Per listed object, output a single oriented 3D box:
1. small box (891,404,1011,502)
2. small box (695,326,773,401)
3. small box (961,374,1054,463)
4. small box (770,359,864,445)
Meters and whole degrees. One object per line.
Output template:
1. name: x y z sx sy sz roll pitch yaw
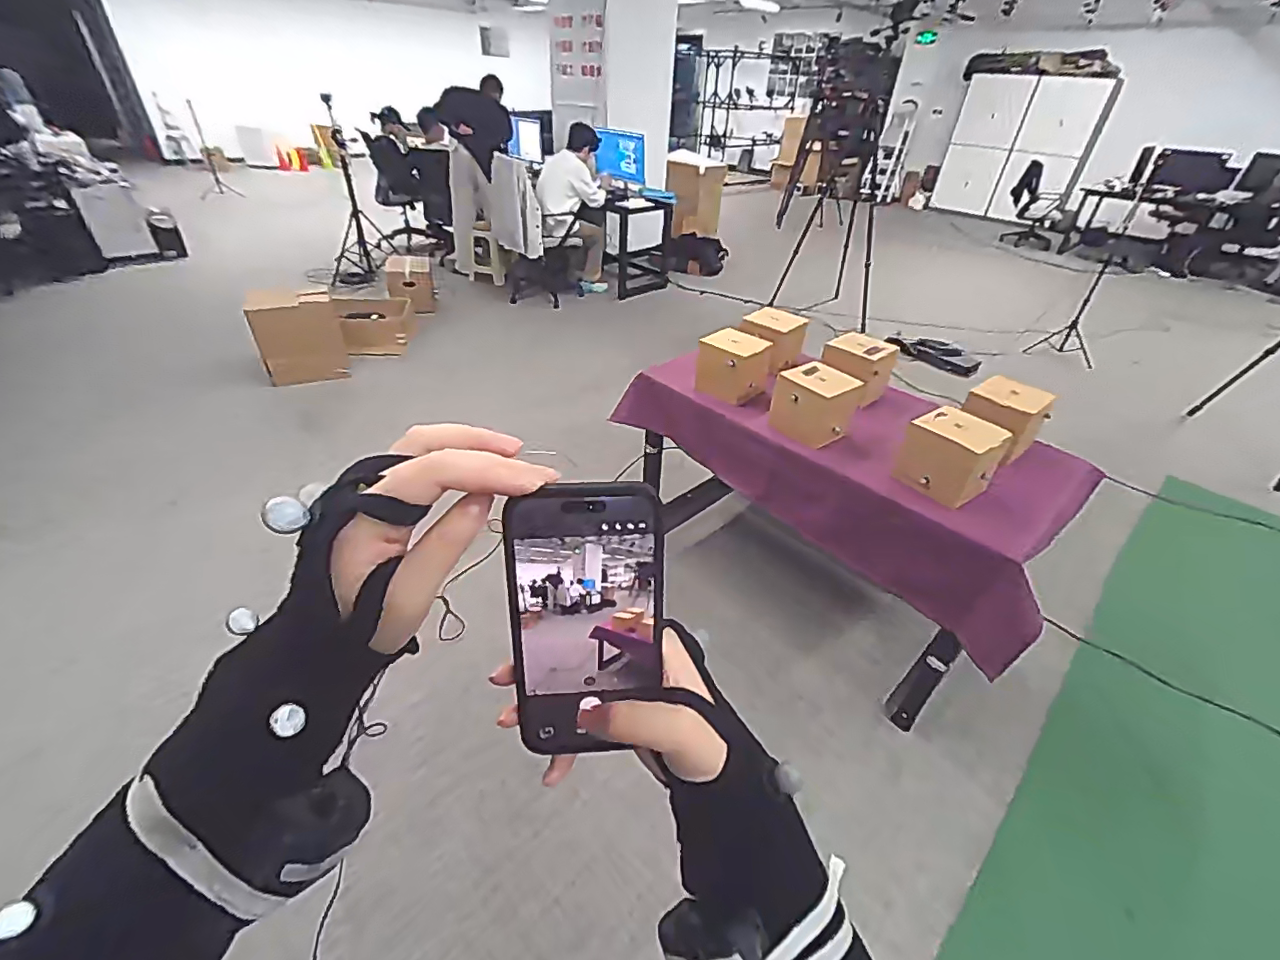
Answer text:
1. small box: 0.774 -0.064 1.360 0.168 0.176 0.179 -21 44 -30
2. small box: 0.296 -0.374 1.736 0.179 0.176 0.168 30 44 30
3. small box: 1.014 -0.175 1.528 0.179 0.176 0.168 -25 45 -32
4. small box: 0.498 -0.223 1.550 0.168 0.176 0.179 -22 45 -30
